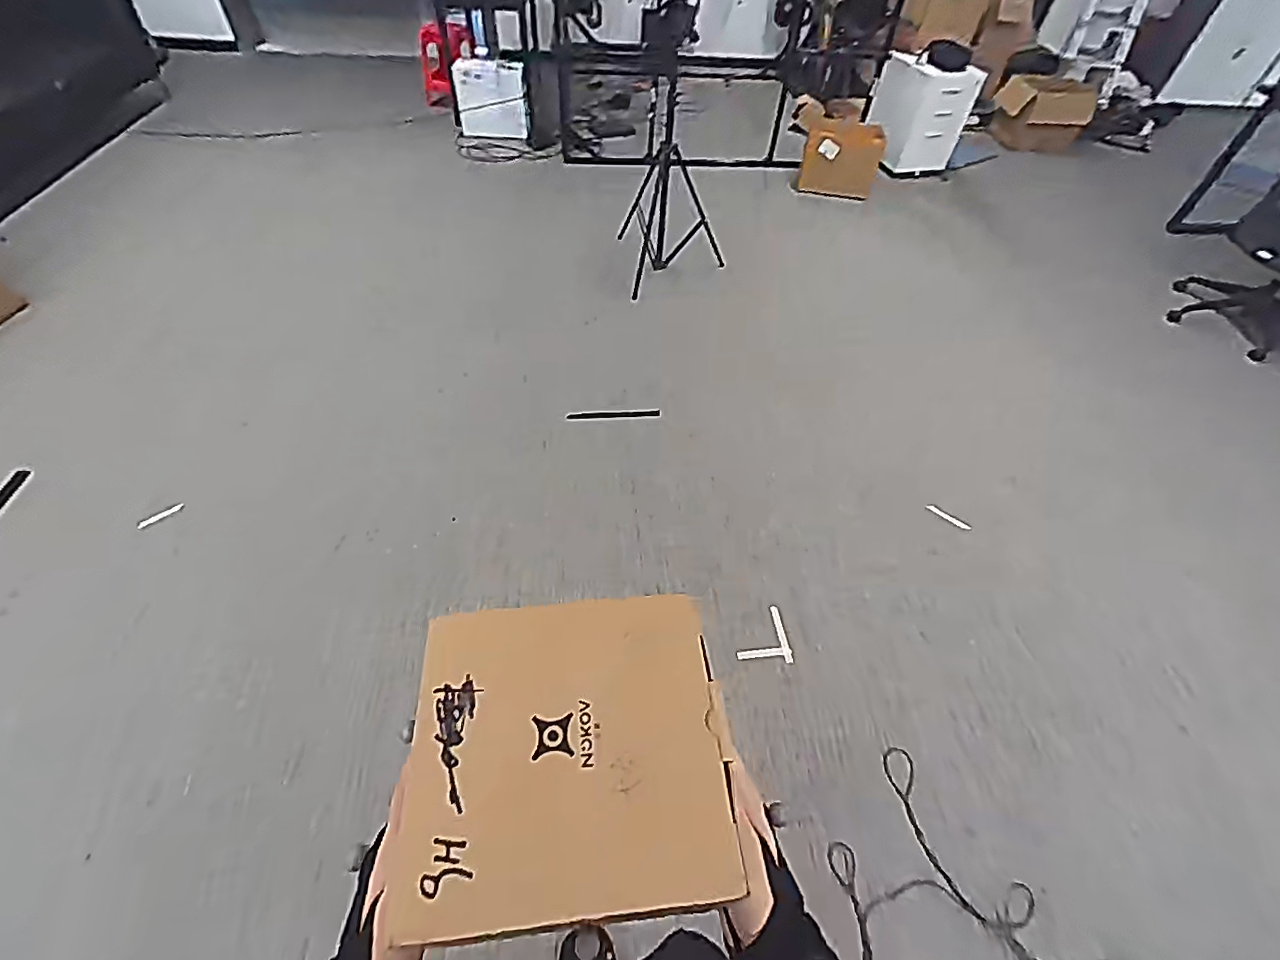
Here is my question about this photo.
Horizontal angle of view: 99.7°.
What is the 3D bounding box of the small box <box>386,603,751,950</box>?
[{"bbox_3d":[-0.043,0.200,0.367,0.179,0.176,0.168,-3,49,-6],"label":"small box"}]
